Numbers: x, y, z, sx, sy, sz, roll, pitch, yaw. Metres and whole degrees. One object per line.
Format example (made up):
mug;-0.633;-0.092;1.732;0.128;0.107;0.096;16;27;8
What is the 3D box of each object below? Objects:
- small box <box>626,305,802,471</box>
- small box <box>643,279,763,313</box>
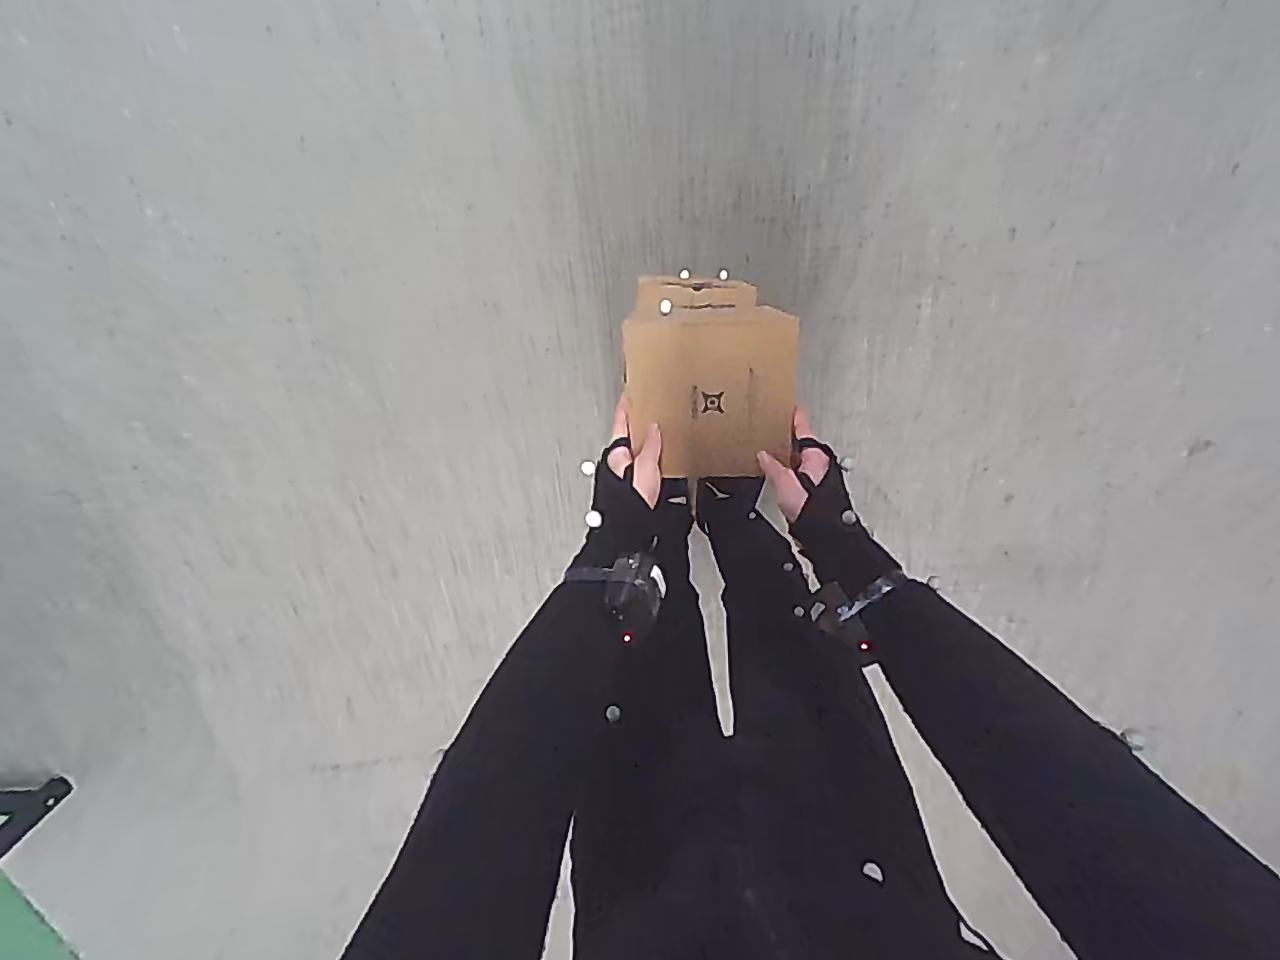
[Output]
small box;0.080;-0.115;0.639;0.179;0.176;0.168;-2;111;3
small box;0.084;-0.216;0.844;0.168;0.176;0.179;3;113;1
